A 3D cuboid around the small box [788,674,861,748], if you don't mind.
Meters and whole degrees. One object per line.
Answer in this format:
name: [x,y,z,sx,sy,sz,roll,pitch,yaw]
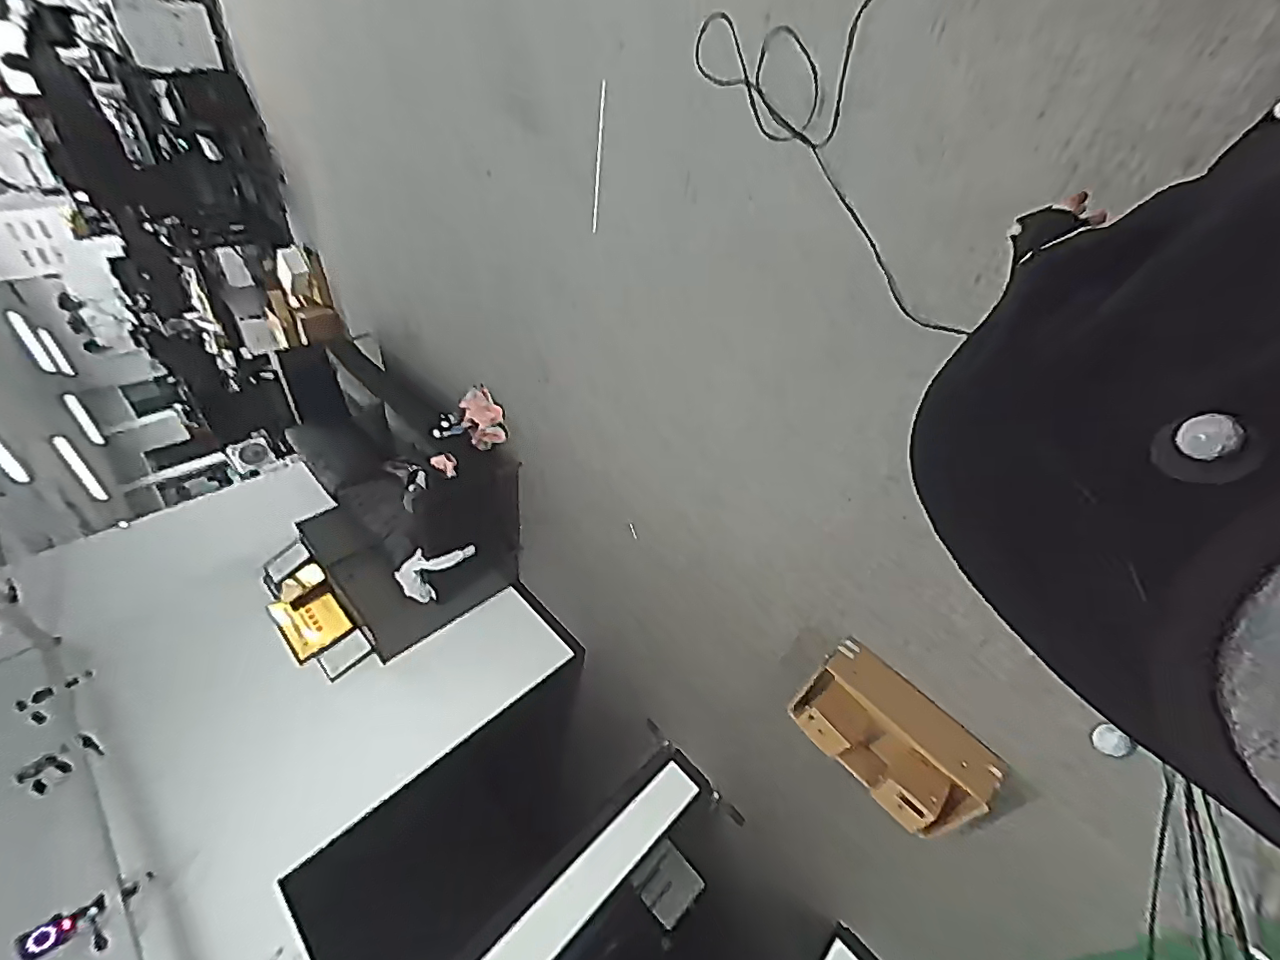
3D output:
small box: [0.720,0.895,2.101,0.179,0.176,0.168,45,140,18]
